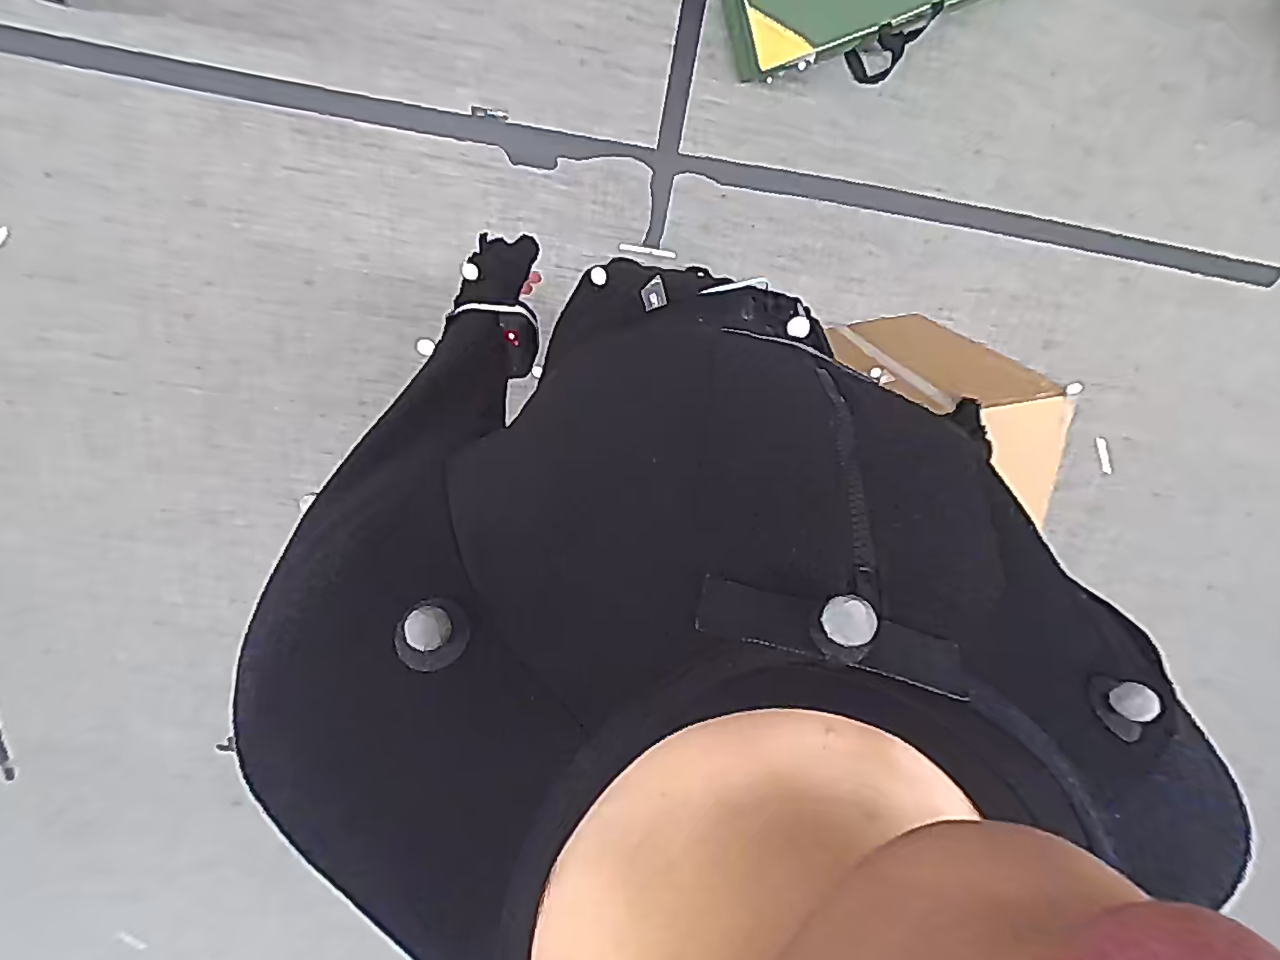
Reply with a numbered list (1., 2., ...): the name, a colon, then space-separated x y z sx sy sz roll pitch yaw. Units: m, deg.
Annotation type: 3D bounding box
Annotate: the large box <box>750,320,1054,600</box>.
1. large box: 0.400 -0.055 0.958 0.320 0.408 0.320 -10 122 1
